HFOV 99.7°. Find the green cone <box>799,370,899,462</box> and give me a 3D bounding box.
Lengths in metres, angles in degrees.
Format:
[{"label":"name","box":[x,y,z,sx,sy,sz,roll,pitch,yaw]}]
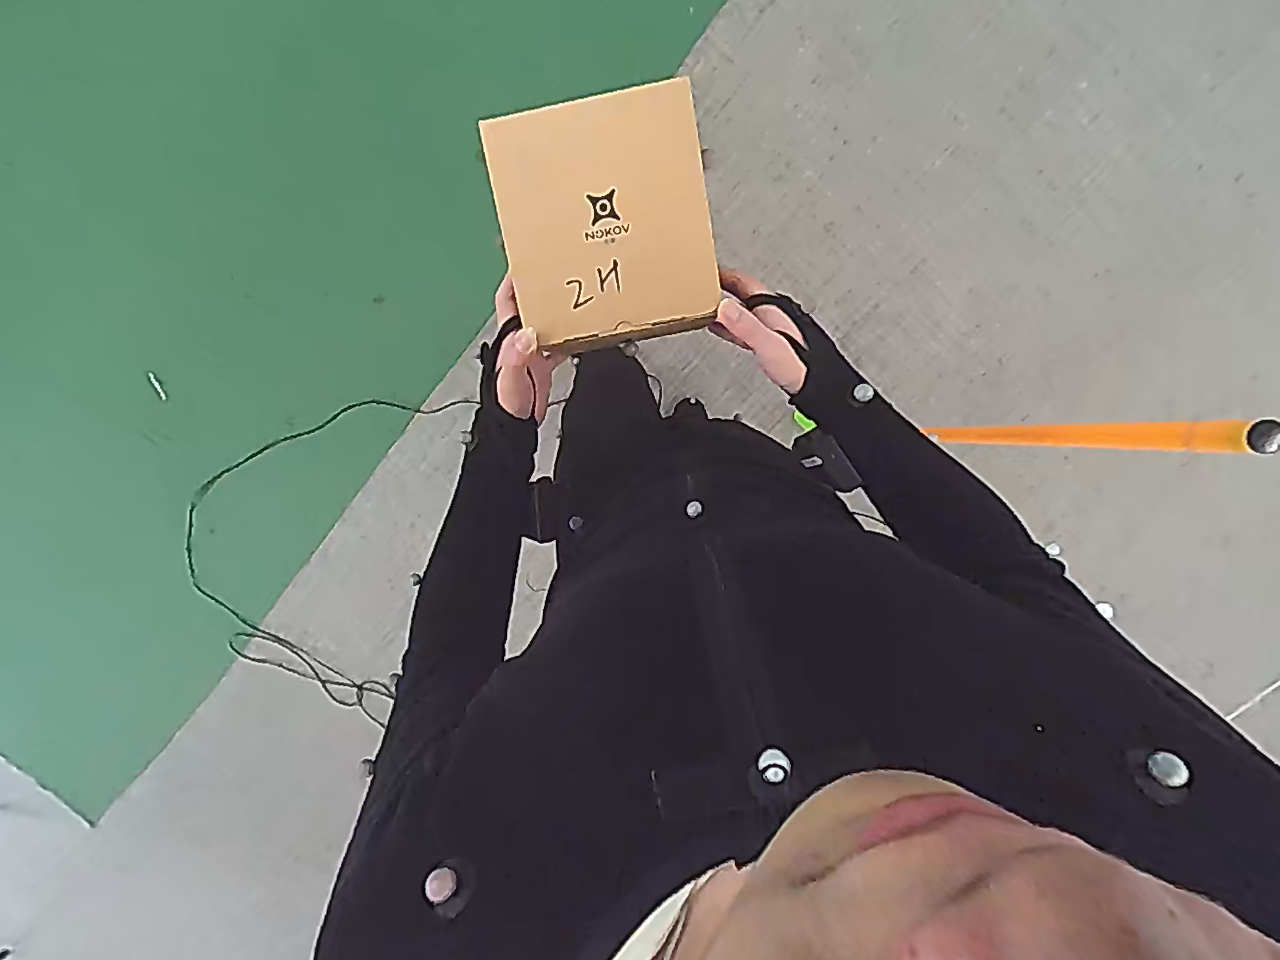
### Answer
[{"label":"green cone","box":[0.563,-0.136,1.351,0.200,0.368,0.202,42,104,-5]}]
